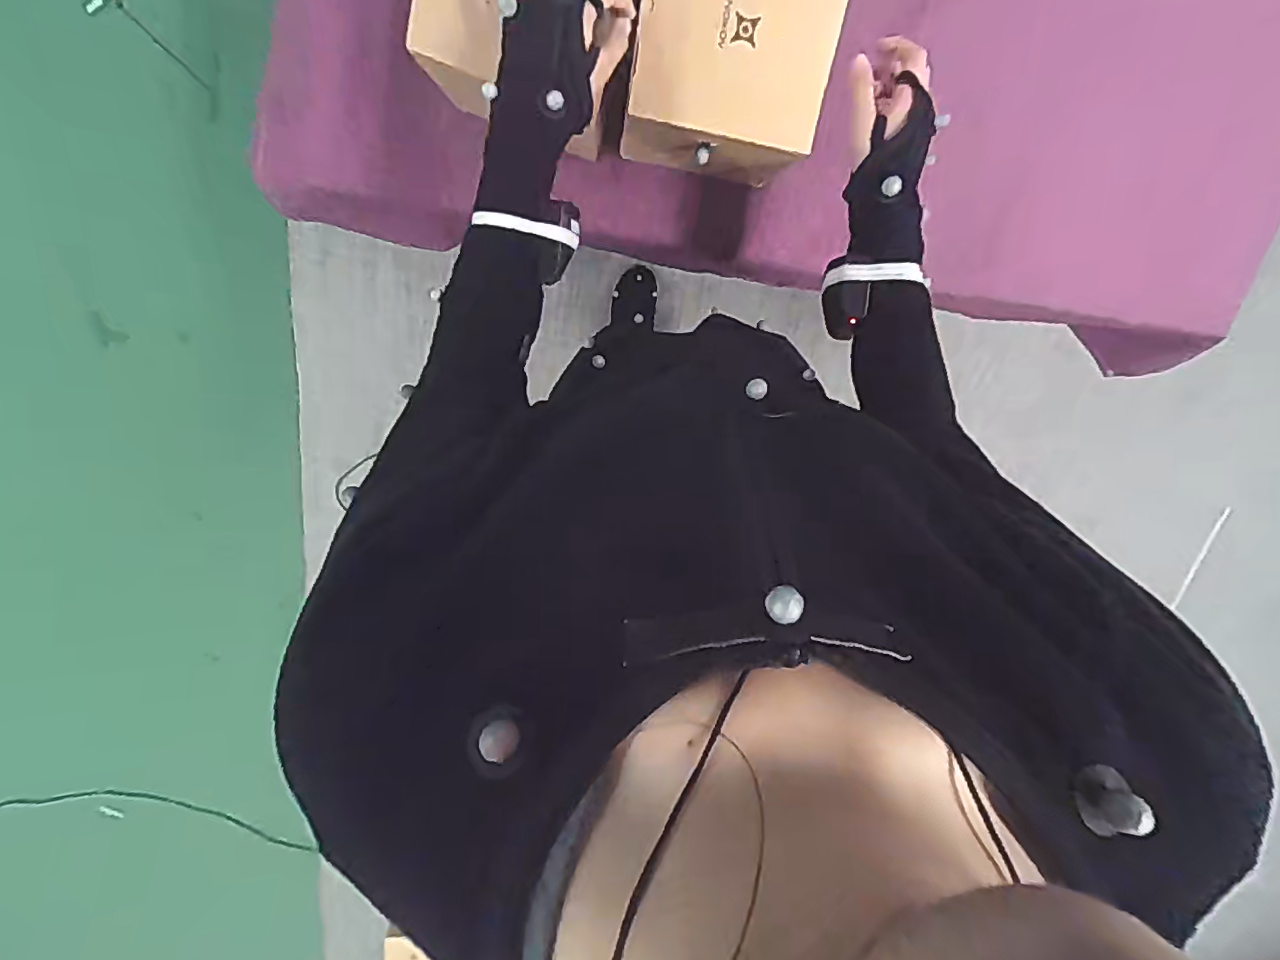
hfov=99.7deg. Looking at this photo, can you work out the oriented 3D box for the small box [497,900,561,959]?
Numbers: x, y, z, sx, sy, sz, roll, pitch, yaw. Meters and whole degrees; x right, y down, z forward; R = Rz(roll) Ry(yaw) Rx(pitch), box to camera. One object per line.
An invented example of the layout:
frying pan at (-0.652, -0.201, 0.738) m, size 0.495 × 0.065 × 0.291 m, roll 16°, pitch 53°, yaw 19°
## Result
small box at (-0.344, 1.452, 1.685) m, size 0.179 × 0.176 × 0.168 m, roll 6°, pitch 106°, yaw -4°
